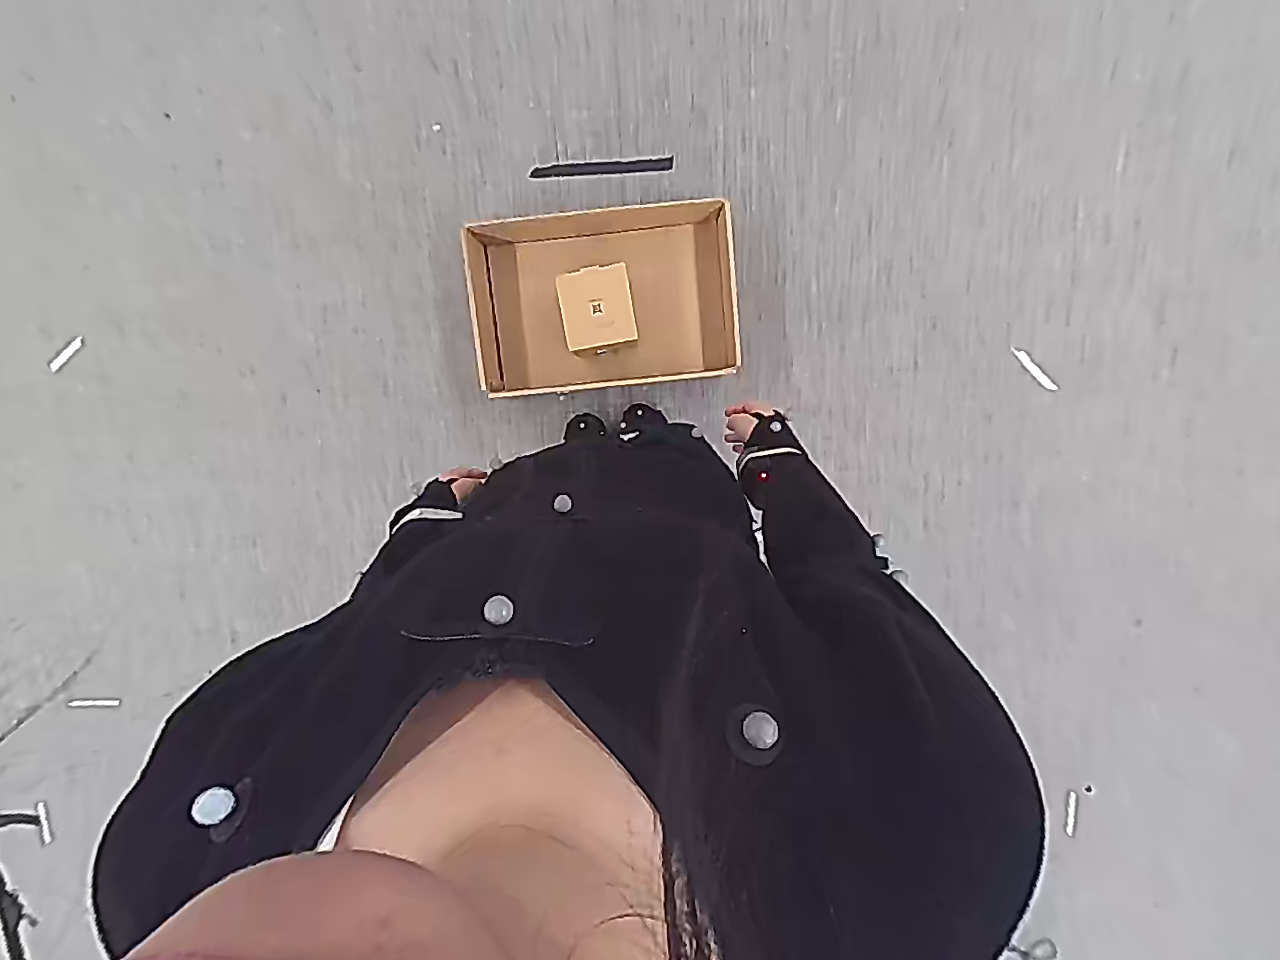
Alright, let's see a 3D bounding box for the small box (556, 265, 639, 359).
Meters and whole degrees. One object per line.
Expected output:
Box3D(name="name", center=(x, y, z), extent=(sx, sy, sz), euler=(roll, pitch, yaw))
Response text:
Box3D(name="small box", center=(-0.098, -0.401, 1.317), extent=(0.168, 0.176, 0.179), euler=(-11, 98, 3))
